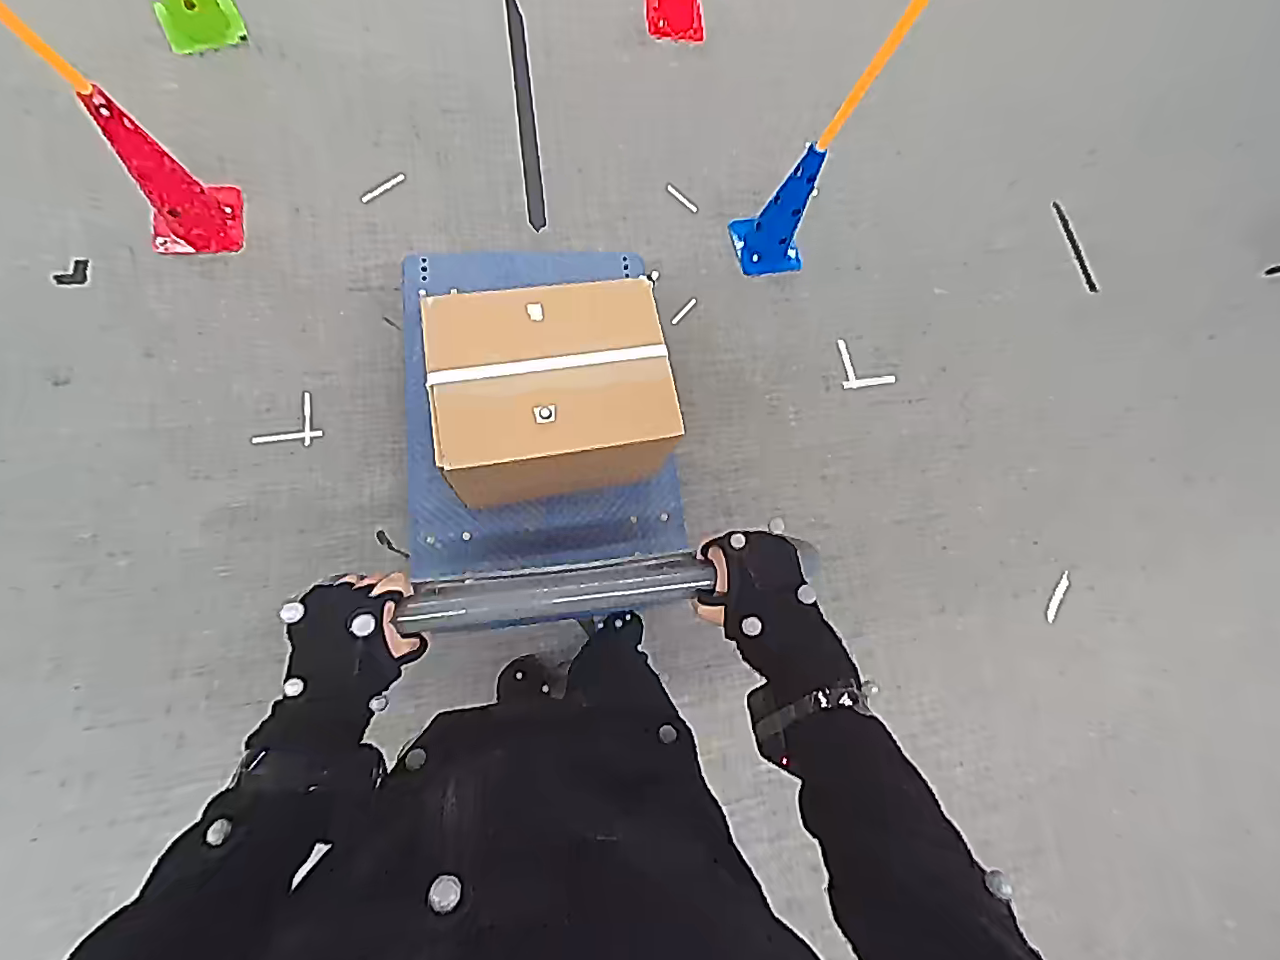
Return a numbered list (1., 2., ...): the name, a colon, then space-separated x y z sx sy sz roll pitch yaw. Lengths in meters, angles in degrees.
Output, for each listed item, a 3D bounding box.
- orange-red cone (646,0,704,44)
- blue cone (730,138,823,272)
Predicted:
1. orange-red cone: 0.148 -1.623 1.687 0.199 0.360 0.198 0 75 -11
2. blue cone: 0.410 -0.769 1.508 0.193 0.380 0.192 -10 75 -13
